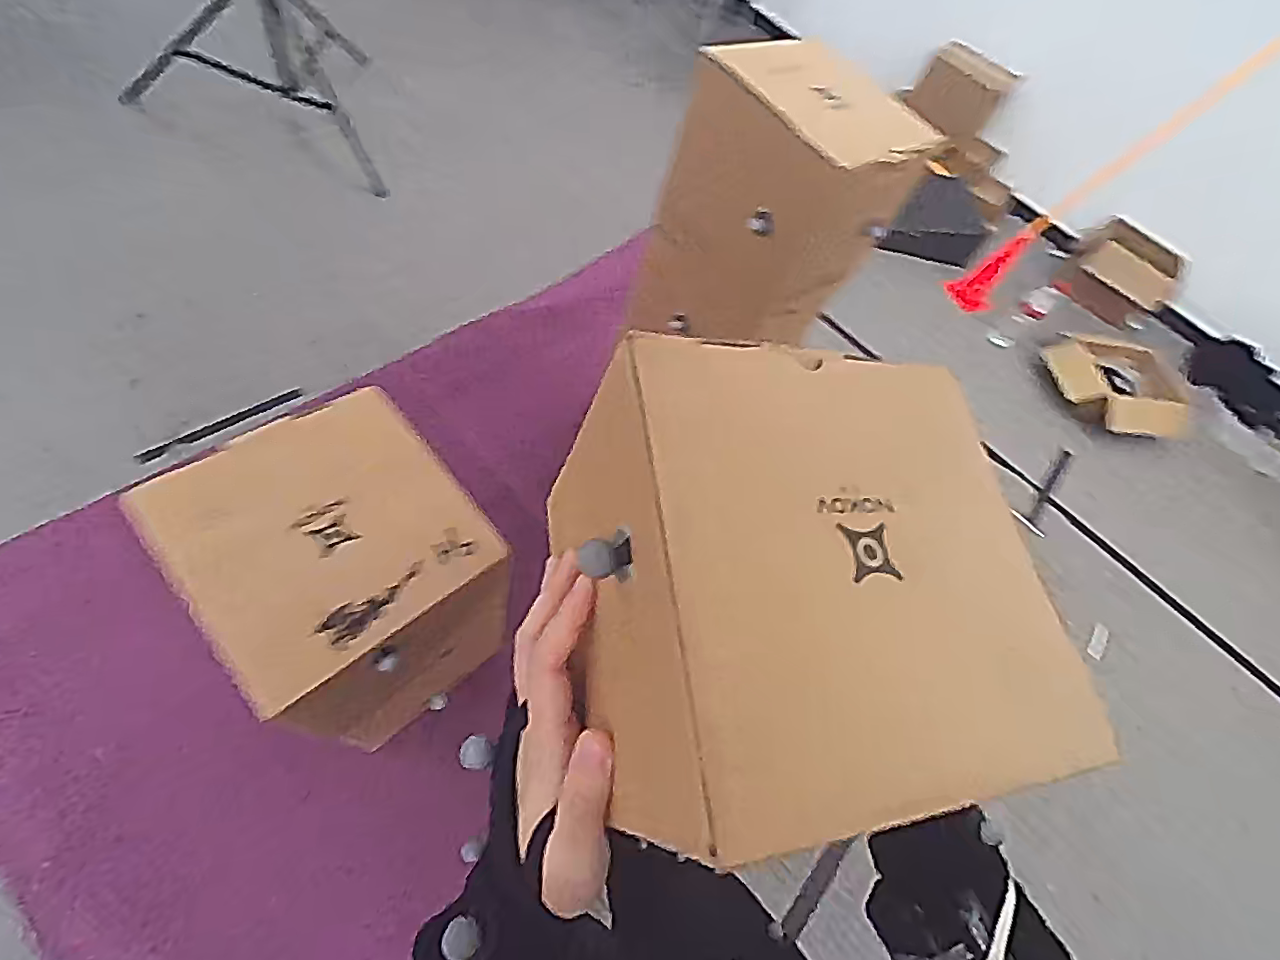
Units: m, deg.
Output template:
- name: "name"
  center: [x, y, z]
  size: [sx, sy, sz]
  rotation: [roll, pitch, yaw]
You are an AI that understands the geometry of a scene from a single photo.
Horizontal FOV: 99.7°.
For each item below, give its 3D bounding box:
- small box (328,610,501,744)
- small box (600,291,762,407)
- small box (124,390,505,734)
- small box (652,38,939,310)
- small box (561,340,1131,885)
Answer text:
- name: "small box"
  center: [-0.266, 0.148, 0.560]
  size: [0.168, 0.176, 0.179]
  rotation: [-37, 77, -30]
- name: "small box"
  center: [0.059, -0.145, 0.818]
  size: [0.168, 0.176, 0.179]
  rotation: [-33, 74, -28]
- name: "small box"
  center: [-0.226, 0.070, 0.421]
  size: [0.168, 0.176, 0.179]
  rotation: [-36, 76, -29]
- name: "small box"
  center: [0.139, -0.294, 0.539]
  size: [0.168, 0.176, 0.179]
  rotation: [-31, 72, -29]
- name: "small box"
  center: [0.060, 0.061, 0.265]
  size: [0.168, 0.176, 0.179]
  rotation: [1, 64, -20]
